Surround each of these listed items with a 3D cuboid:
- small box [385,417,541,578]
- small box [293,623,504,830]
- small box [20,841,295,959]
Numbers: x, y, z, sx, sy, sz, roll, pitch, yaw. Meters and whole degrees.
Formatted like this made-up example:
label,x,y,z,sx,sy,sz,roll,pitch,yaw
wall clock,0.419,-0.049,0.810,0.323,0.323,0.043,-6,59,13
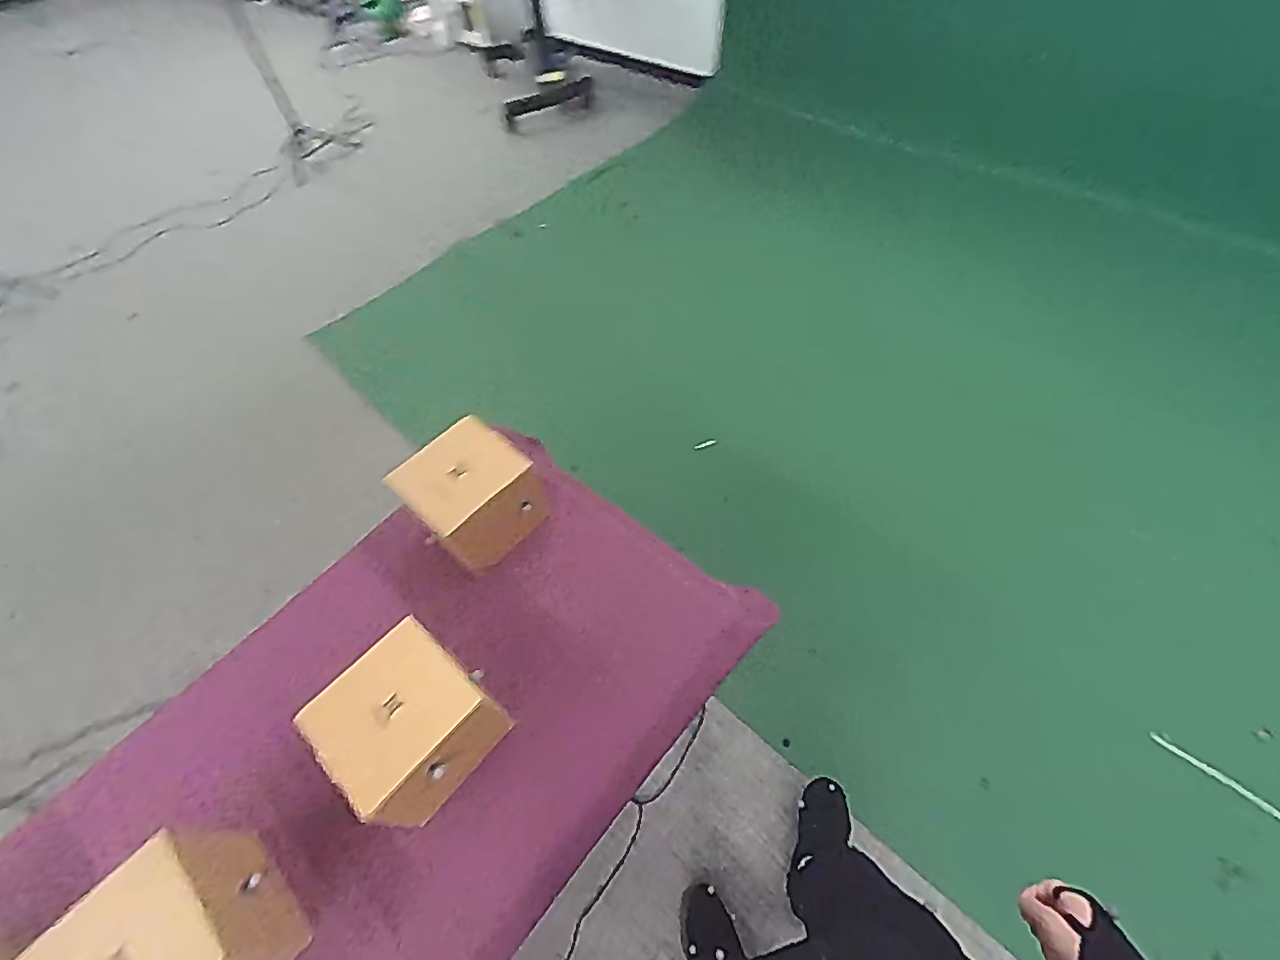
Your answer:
label,x,y,z,sx,sy,sz,roll,pitch,yaw
small box,-0.286,0.033,0.922,0.168,0.176,0.179,37,66,23
small box,-0.305,0.331,0.728,0.168,0.176,0.179,35,66,23
small box,-0.526,0.540,0.599,0.168,0.176,0.179,35,65,24
